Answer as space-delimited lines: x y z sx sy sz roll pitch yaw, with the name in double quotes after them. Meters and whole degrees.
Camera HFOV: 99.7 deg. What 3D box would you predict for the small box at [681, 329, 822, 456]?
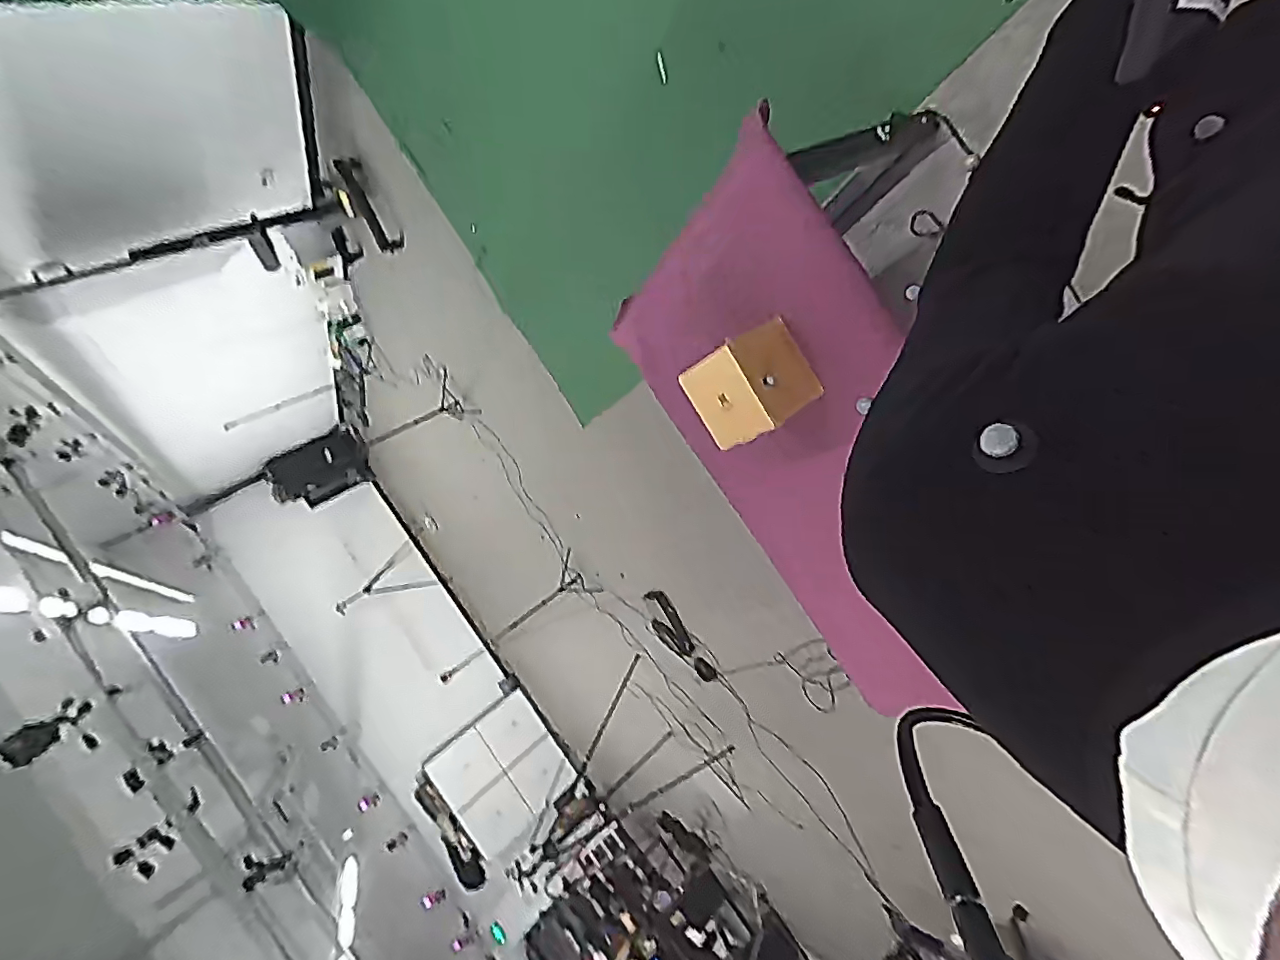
0.222 -0.177 1.070 0.179 0.176 0.168 57 148 -5 "small box"
